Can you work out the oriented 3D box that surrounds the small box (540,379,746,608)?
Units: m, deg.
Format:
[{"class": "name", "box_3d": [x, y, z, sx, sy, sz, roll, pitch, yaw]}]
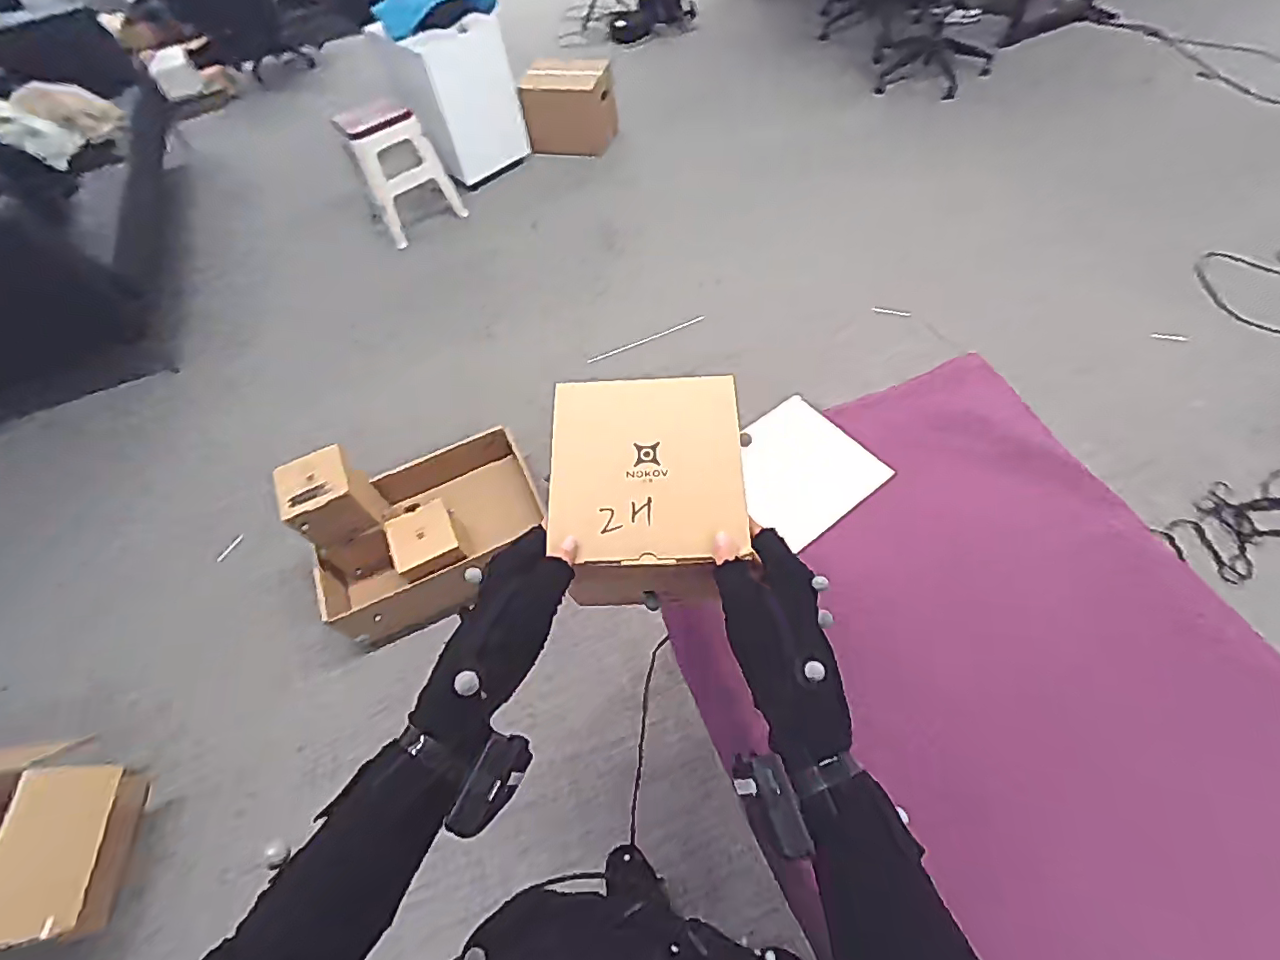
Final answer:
[{"class": "small box", "box_3d": [0.005, 0.021, 0.531, 0.168, 0.176, 0.179, -2, 66, 2]}]
